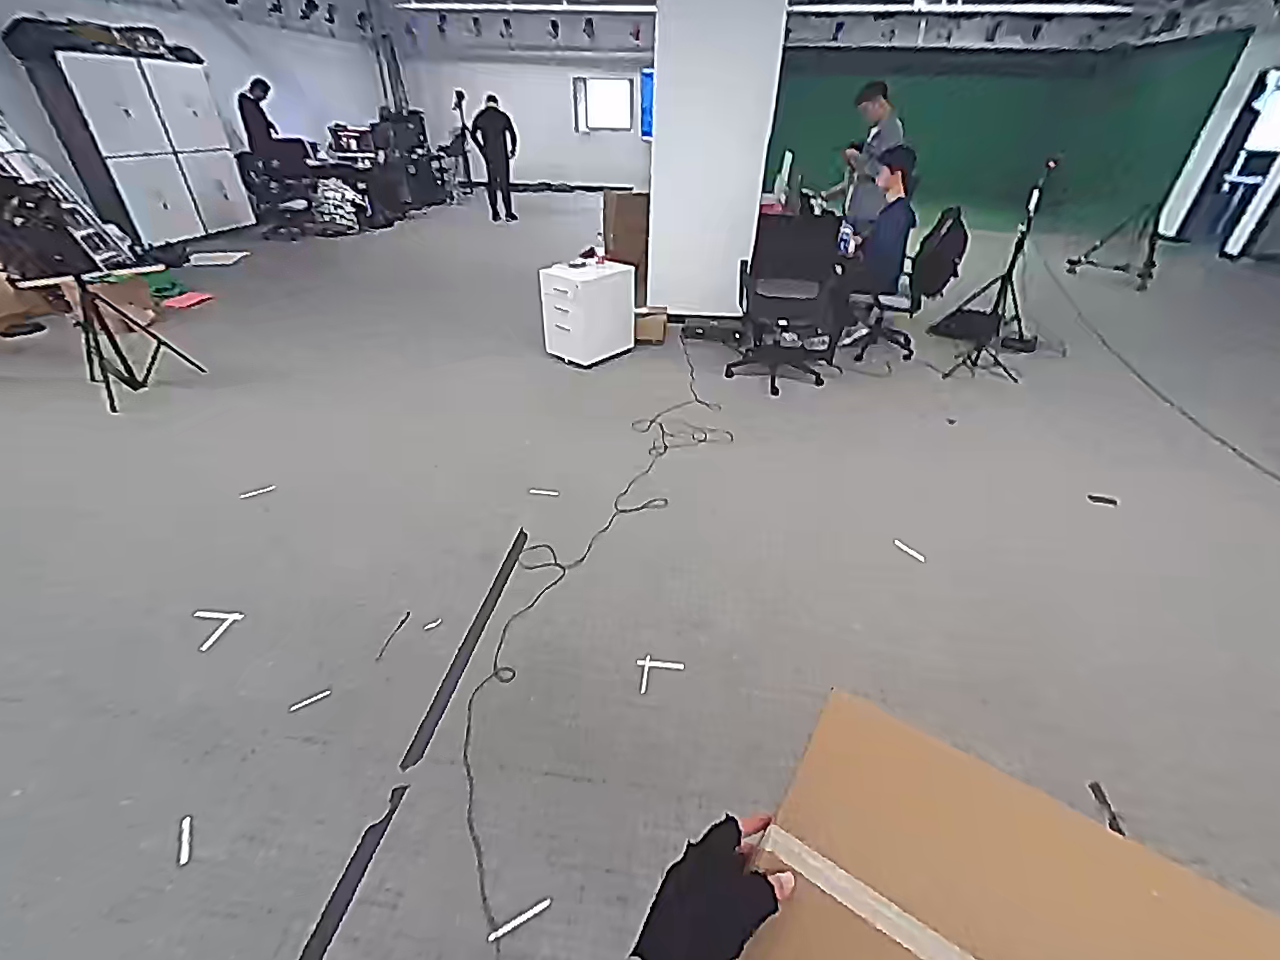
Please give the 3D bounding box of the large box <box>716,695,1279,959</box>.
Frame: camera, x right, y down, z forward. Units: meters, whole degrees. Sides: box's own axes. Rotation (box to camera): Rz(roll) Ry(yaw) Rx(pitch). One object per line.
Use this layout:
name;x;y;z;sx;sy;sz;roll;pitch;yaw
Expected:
large box;0.293;0.487;0.501;0.408;0.320;0.320;23;53;26
